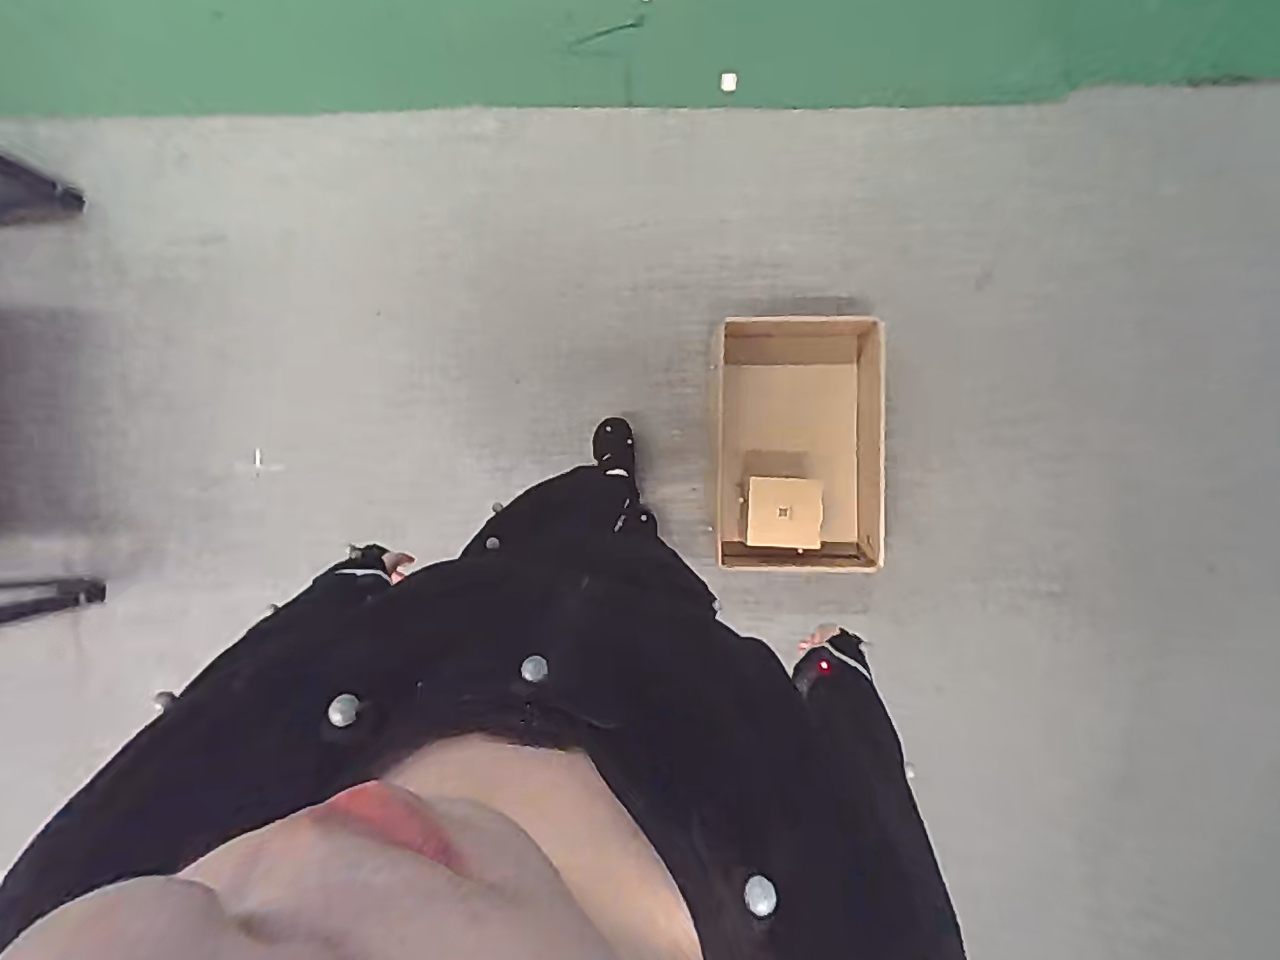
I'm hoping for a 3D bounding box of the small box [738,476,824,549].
[{"bbox_3d":[0.347,0.078,1.360,0.179,0.176,0.168,3,90,1],"label":"small box"}]
